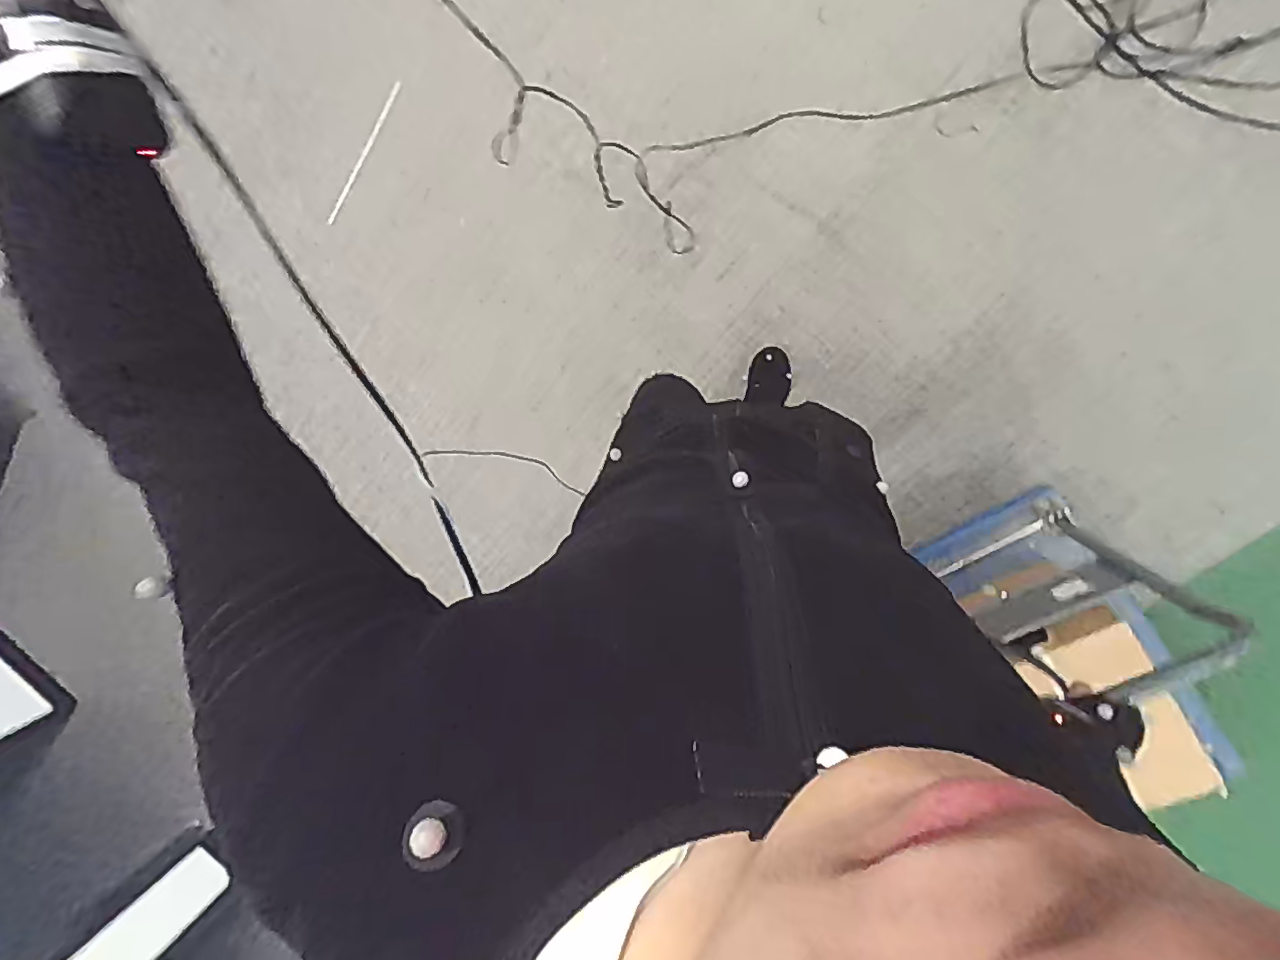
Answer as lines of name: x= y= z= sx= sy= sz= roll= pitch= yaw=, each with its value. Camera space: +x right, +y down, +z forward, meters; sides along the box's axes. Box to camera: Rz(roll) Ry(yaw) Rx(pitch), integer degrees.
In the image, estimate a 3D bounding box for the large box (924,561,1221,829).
large box: x=0.927 y=0.463 z=1.220 sx=0.320 sy=0.320 sz=0.408 roll=-33 pitch=95 yaw=19
